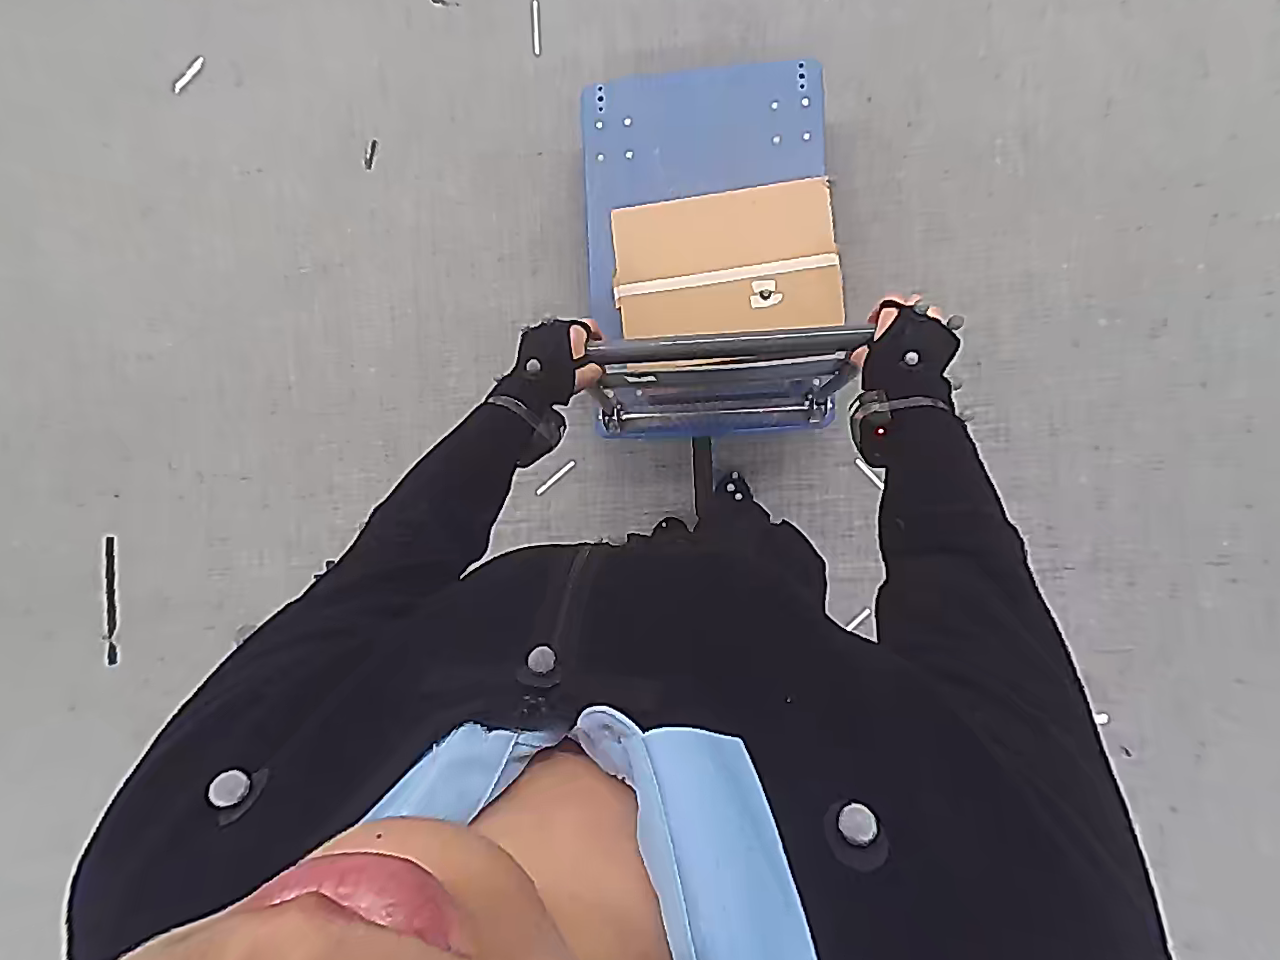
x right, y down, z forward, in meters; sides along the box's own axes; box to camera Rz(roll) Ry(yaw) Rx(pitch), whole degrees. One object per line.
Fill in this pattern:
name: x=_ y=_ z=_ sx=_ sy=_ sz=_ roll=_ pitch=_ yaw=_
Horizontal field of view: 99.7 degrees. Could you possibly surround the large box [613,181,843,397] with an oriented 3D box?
large box: x=0.172 y=-0.376 z=1.159 sx=0.408 sy=0.320 sz=0.320 roll=-7 pitch=90 yaw=4
